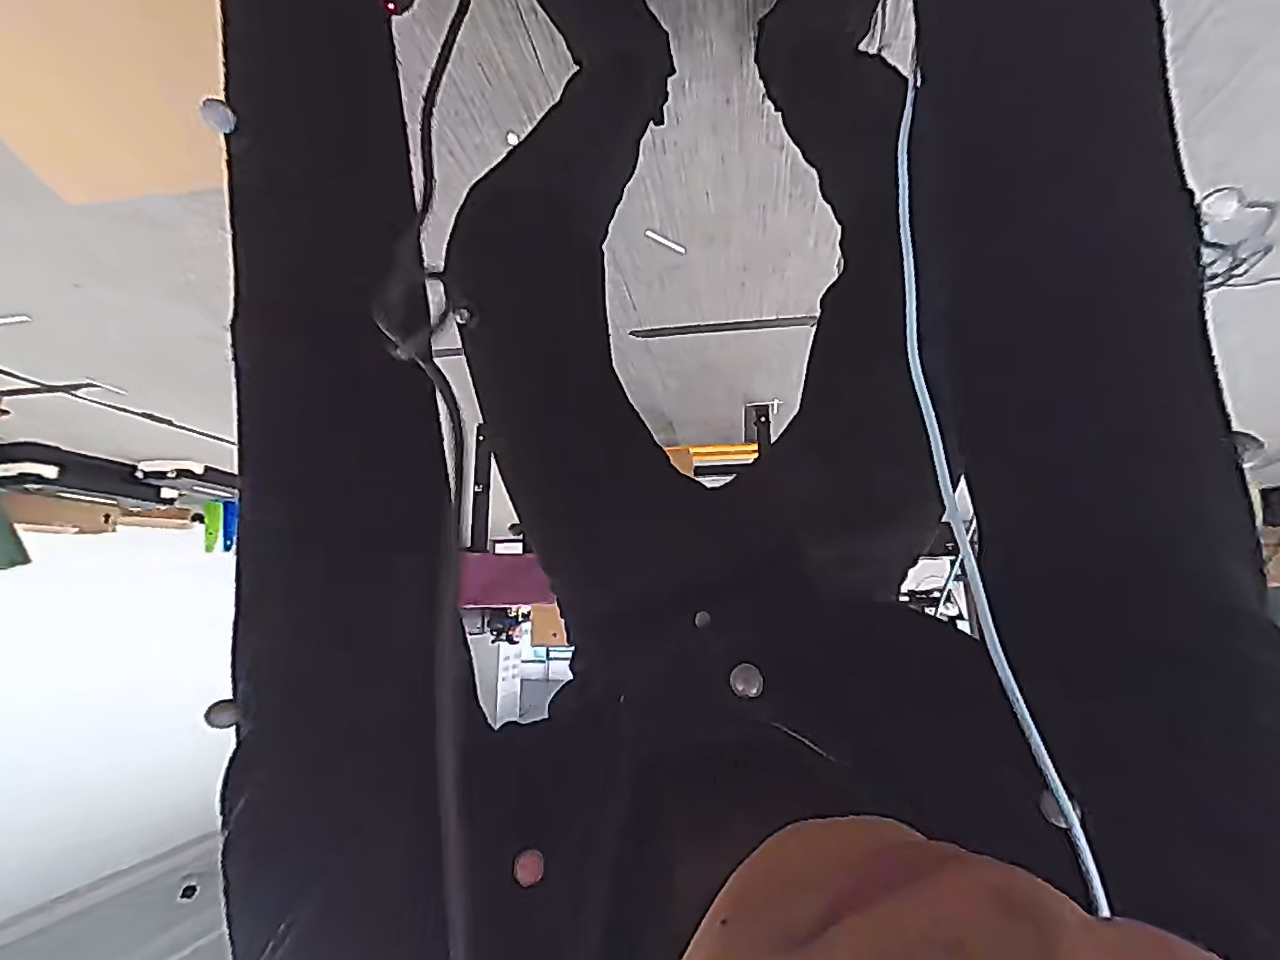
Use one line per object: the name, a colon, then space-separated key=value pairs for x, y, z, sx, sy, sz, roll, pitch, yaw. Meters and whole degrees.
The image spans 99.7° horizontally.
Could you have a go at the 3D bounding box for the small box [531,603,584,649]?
small box: x=-0.335 y=0.594 z=2.206 sx=0.179 sy=0.176 sz=0.168 roll=-3 pitch=167 yaw=10

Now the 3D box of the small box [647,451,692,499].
small box: x=0.130 y=-0.020 z=2.315 sx=0.179 sy=0.176 sz=0.168 roll=-3 pitch=167 yaw=11
